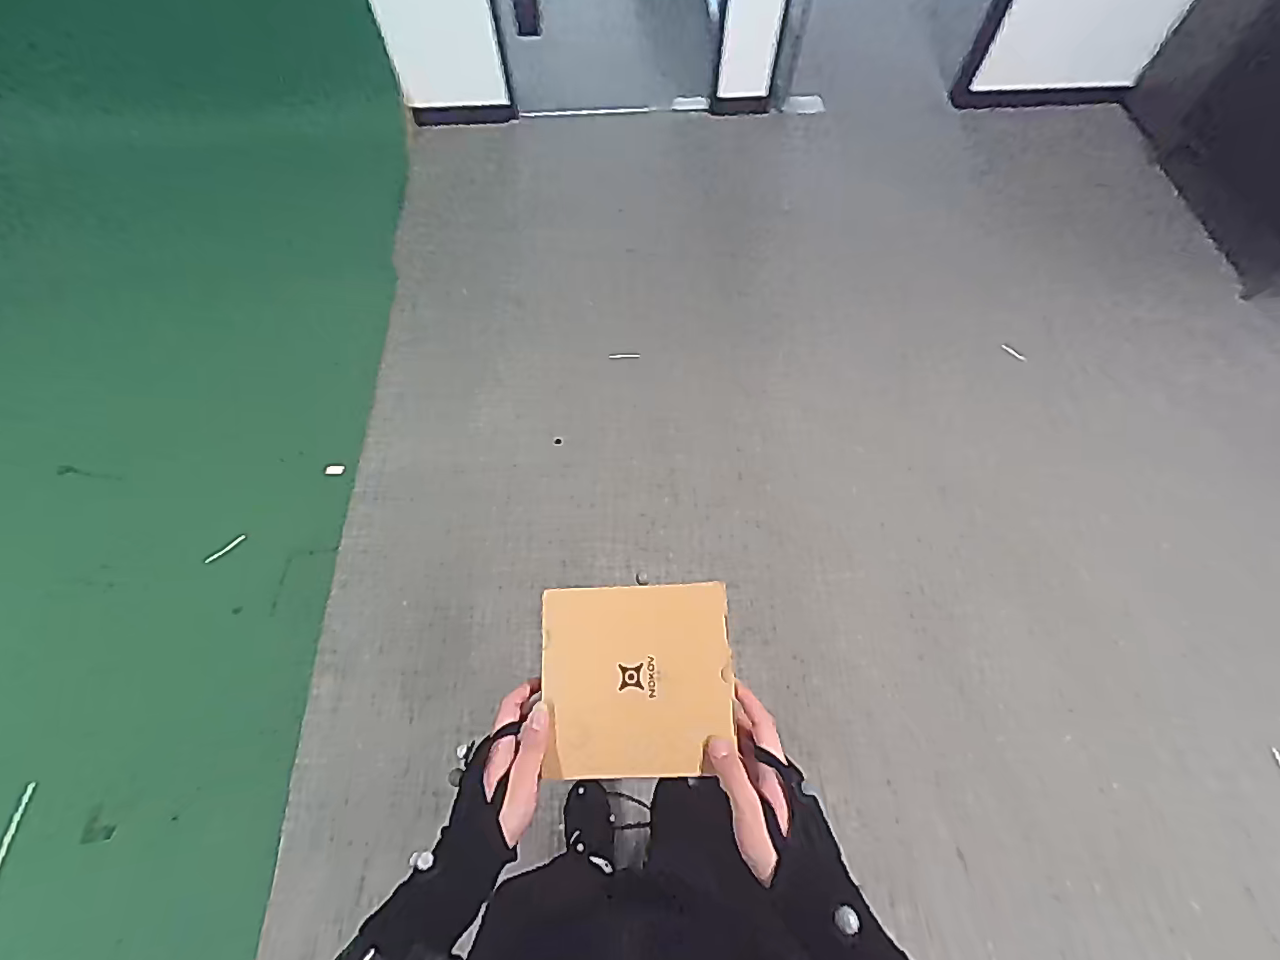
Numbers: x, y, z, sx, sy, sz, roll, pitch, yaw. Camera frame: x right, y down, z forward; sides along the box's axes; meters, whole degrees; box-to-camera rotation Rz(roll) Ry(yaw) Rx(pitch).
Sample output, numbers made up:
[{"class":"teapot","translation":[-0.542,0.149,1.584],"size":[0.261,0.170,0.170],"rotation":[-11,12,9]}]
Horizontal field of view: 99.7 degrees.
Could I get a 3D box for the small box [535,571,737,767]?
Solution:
[{"class":"small box","translation":[-0.001,0.188,0.558],"size":[0.179,0.176,0.168],"rotation":[-3,74,2]}]
